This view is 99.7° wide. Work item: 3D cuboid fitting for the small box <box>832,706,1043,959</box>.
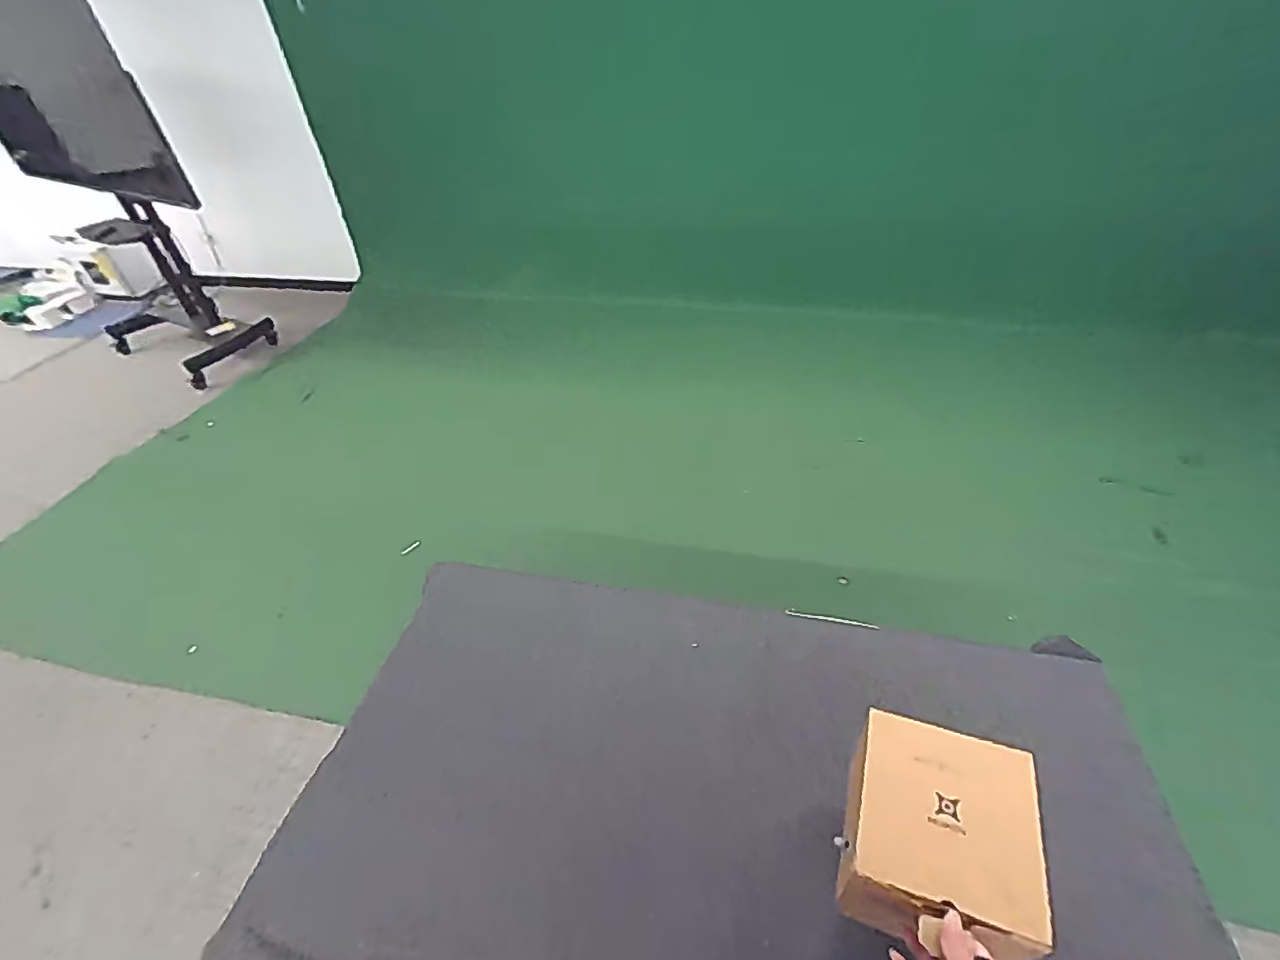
[{"bbox_3d":[0.319,0.396,0.608,0.168,0.176,0.179,11,44,20],"label":"small box"}]
